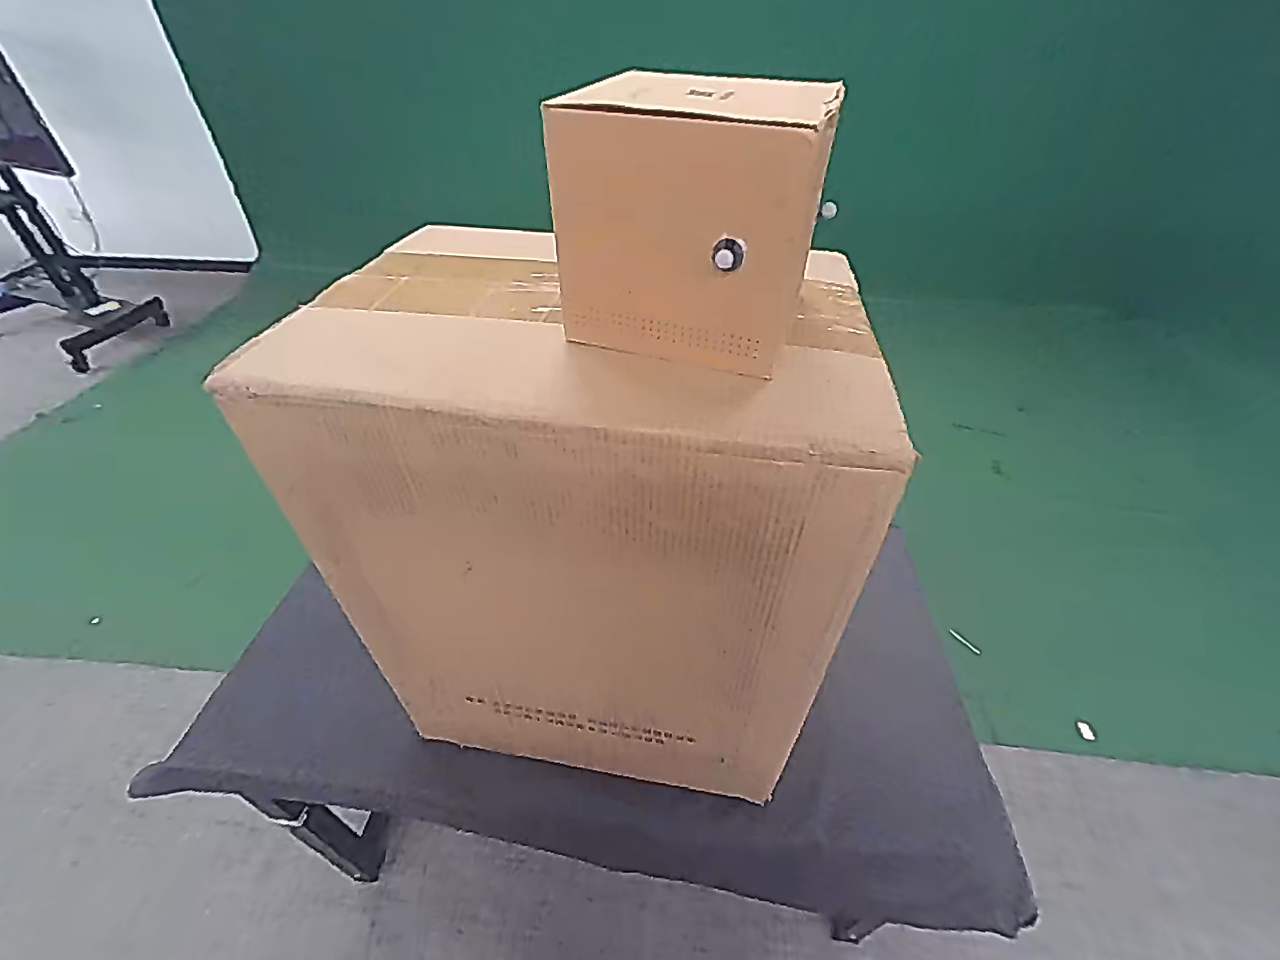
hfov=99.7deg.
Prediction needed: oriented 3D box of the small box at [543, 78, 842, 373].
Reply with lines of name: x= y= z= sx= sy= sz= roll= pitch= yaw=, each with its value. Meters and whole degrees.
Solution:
small box: x=0.046 y=-0.206 z=0.437 sx=0.179 sy=0.176 sz=0.168 roll=14 pitch=45 yaw=15
